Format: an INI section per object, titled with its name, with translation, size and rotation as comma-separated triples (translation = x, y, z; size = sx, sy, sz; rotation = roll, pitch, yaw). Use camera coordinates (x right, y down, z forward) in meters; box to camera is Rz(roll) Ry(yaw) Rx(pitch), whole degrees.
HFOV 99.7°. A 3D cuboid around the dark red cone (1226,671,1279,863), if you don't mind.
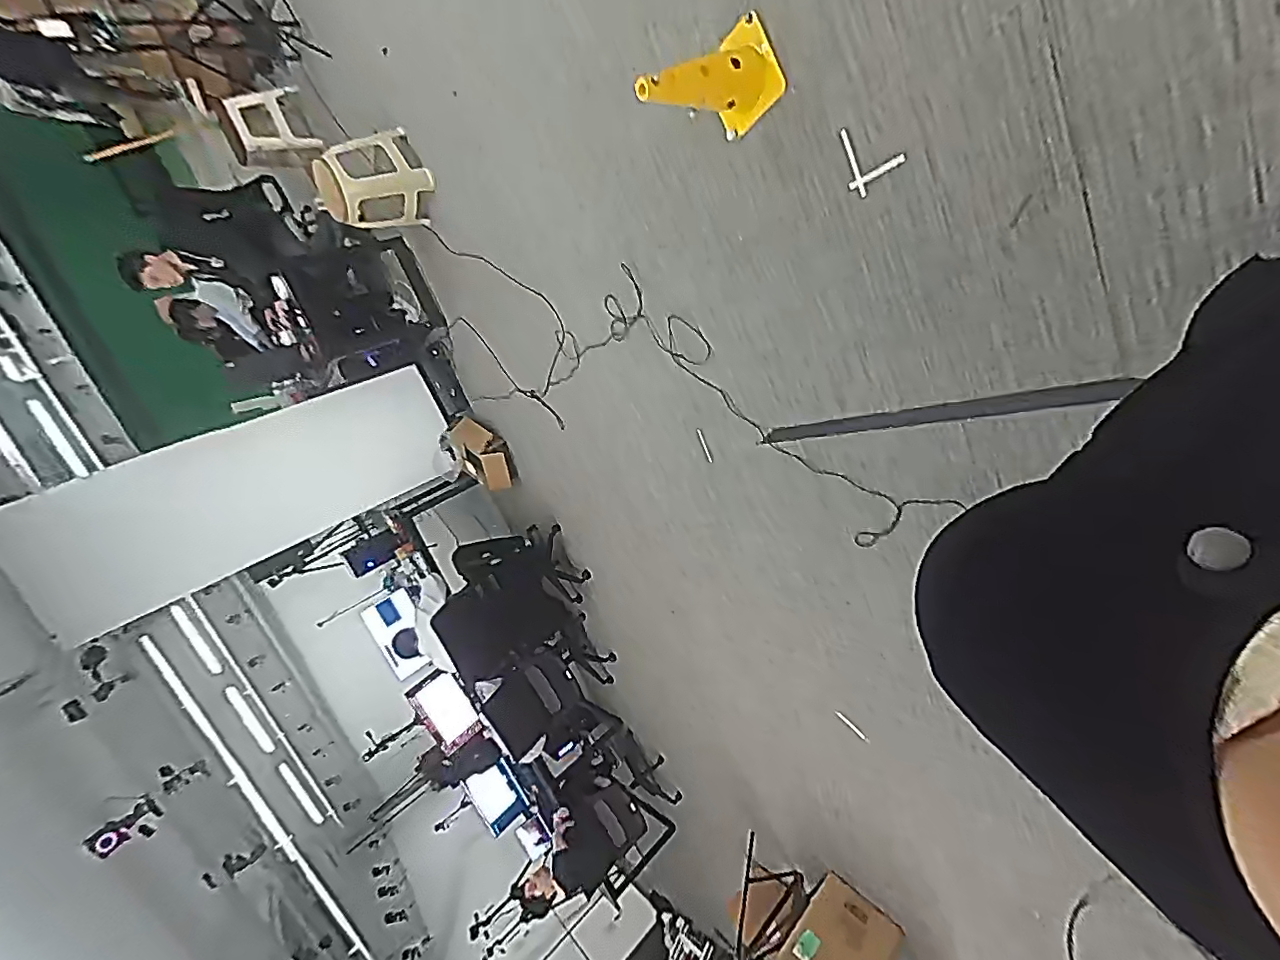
[dark red cone]
translation = 1.198, 0.535, 0.975
size = 0.202, 0.394, 0.201
rotation = -18, 100, 58
